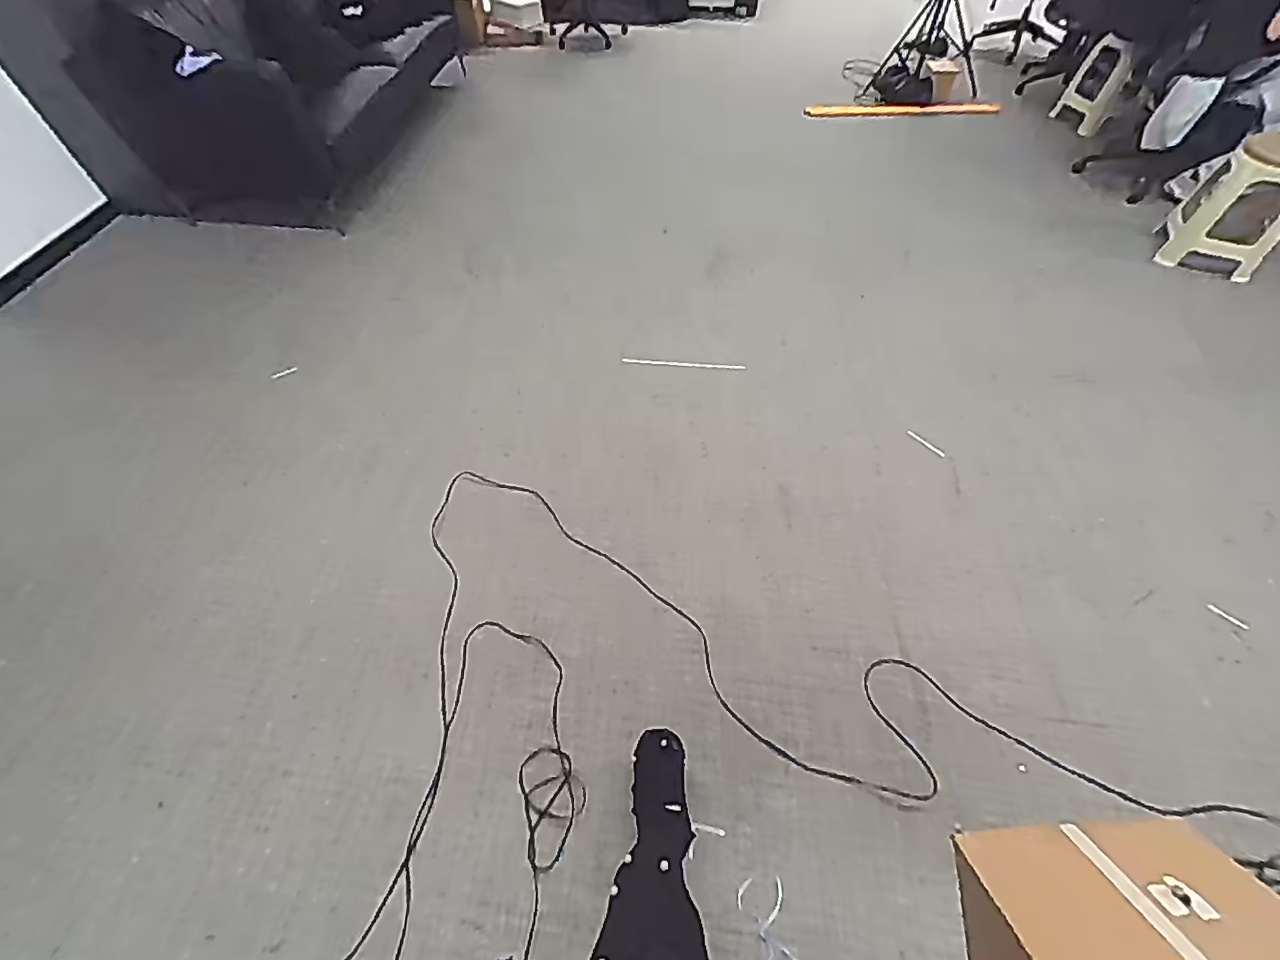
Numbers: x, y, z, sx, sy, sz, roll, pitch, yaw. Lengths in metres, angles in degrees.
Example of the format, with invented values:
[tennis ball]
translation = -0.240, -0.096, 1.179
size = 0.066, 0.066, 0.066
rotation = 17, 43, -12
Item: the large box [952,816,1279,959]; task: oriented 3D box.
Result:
[large box]
translation = 0.624, 0.672, 0.607
size = 0.320, 0.408, 0.320
rotation = -8, 94, 6
